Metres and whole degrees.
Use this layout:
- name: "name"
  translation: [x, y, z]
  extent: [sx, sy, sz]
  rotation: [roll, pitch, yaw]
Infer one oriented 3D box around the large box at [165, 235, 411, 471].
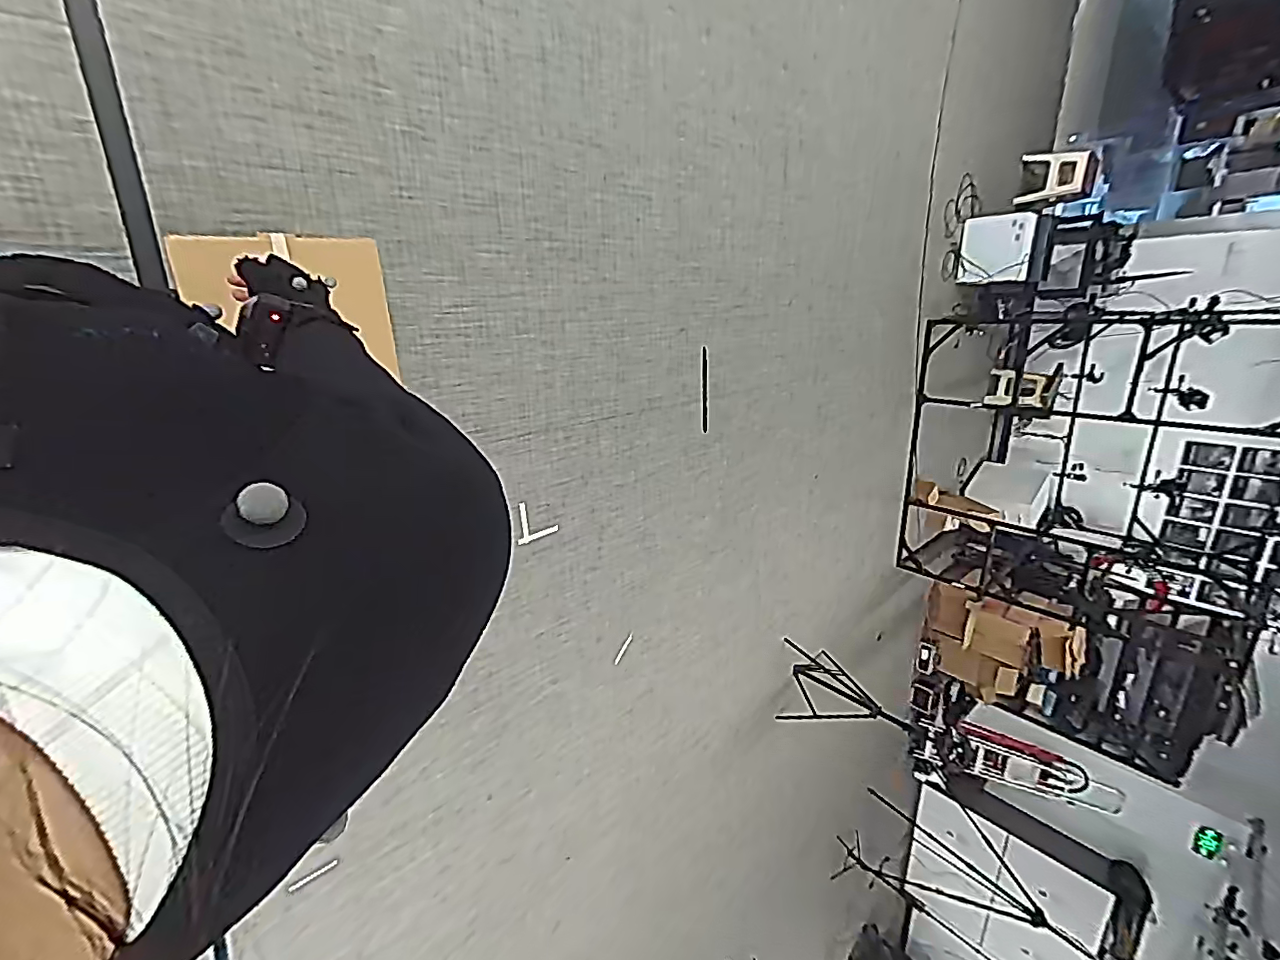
- name: "large box"
  translation: [-0.703, -0.273, 1.108]
  extent: [0.320, 0.320, 0.408]
  rotation: [-15, 114, -33]
